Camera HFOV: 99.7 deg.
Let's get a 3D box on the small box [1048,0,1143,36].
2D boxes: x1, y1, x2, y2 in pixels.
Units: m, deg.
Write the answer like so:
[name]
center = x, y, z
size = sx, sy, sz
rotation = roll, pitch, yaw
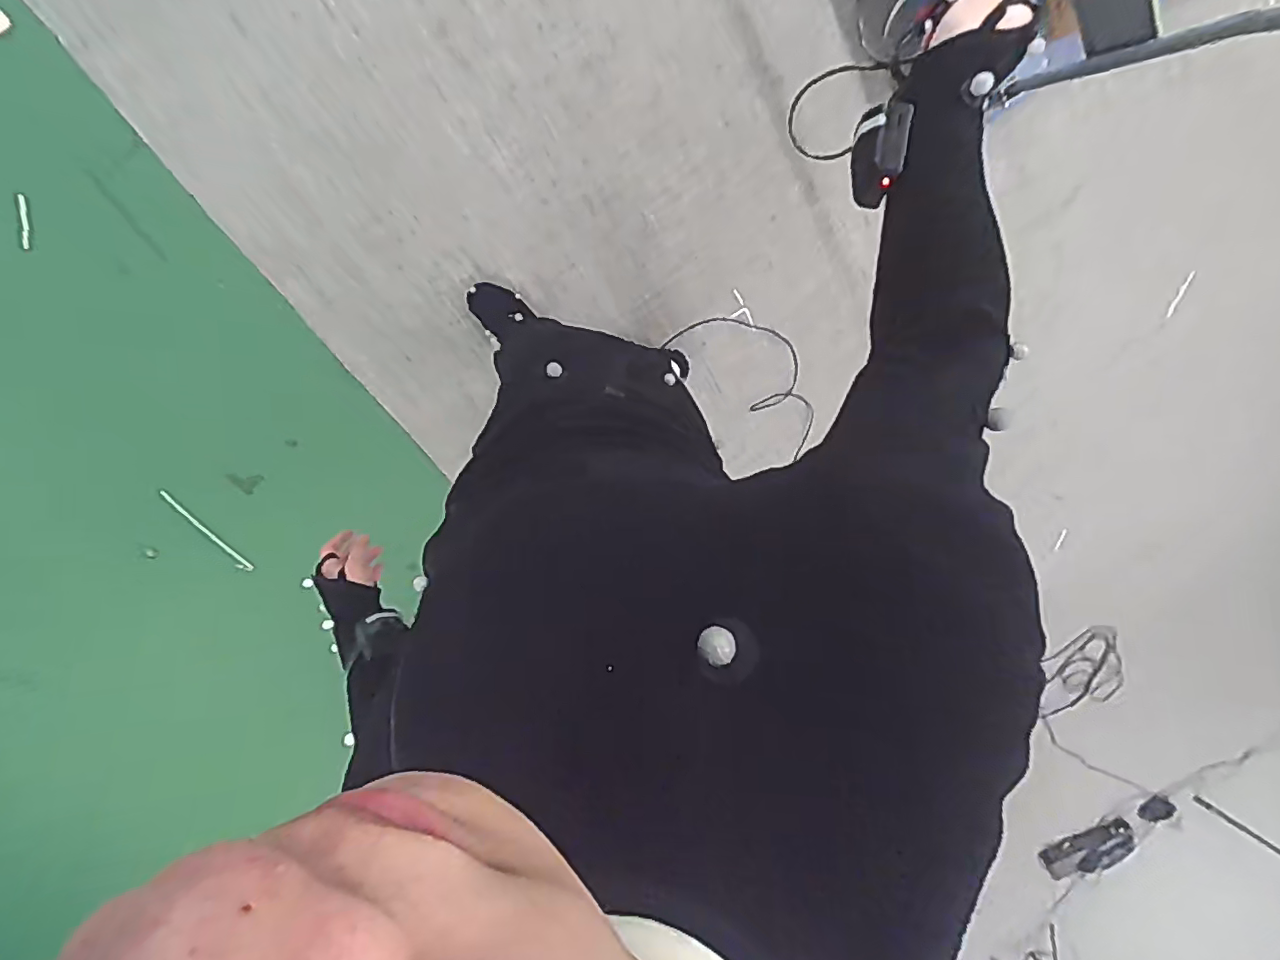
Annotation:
[small box]
center = 0.949, -1.036, 1.066
size = 0.179, 0.176, 0.168
rotation = -32, 115, 8
